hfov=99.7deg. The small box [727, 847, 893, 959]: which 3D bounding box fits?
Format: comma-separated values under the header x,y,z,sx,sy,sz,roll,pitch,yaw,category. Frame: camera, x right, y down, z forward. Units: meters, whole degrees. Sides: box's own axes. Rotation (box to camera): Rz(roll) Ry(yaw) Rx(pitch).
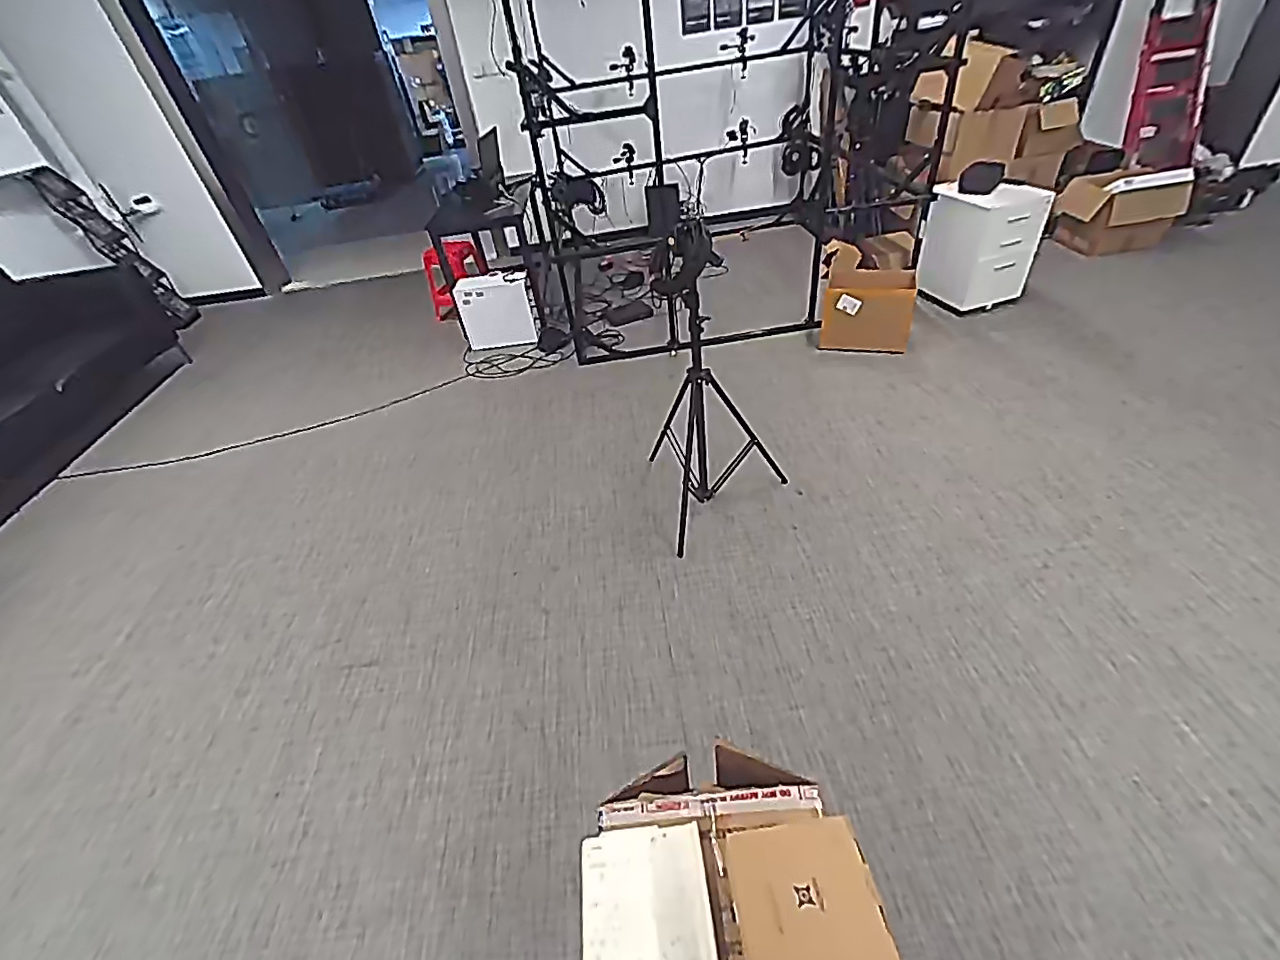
x,y,z,sx,sy,sz,roll,pitch,yaw,category
0.222,0.625,0.730,0.179,0.176,0.168,-9,41,-2,small box
